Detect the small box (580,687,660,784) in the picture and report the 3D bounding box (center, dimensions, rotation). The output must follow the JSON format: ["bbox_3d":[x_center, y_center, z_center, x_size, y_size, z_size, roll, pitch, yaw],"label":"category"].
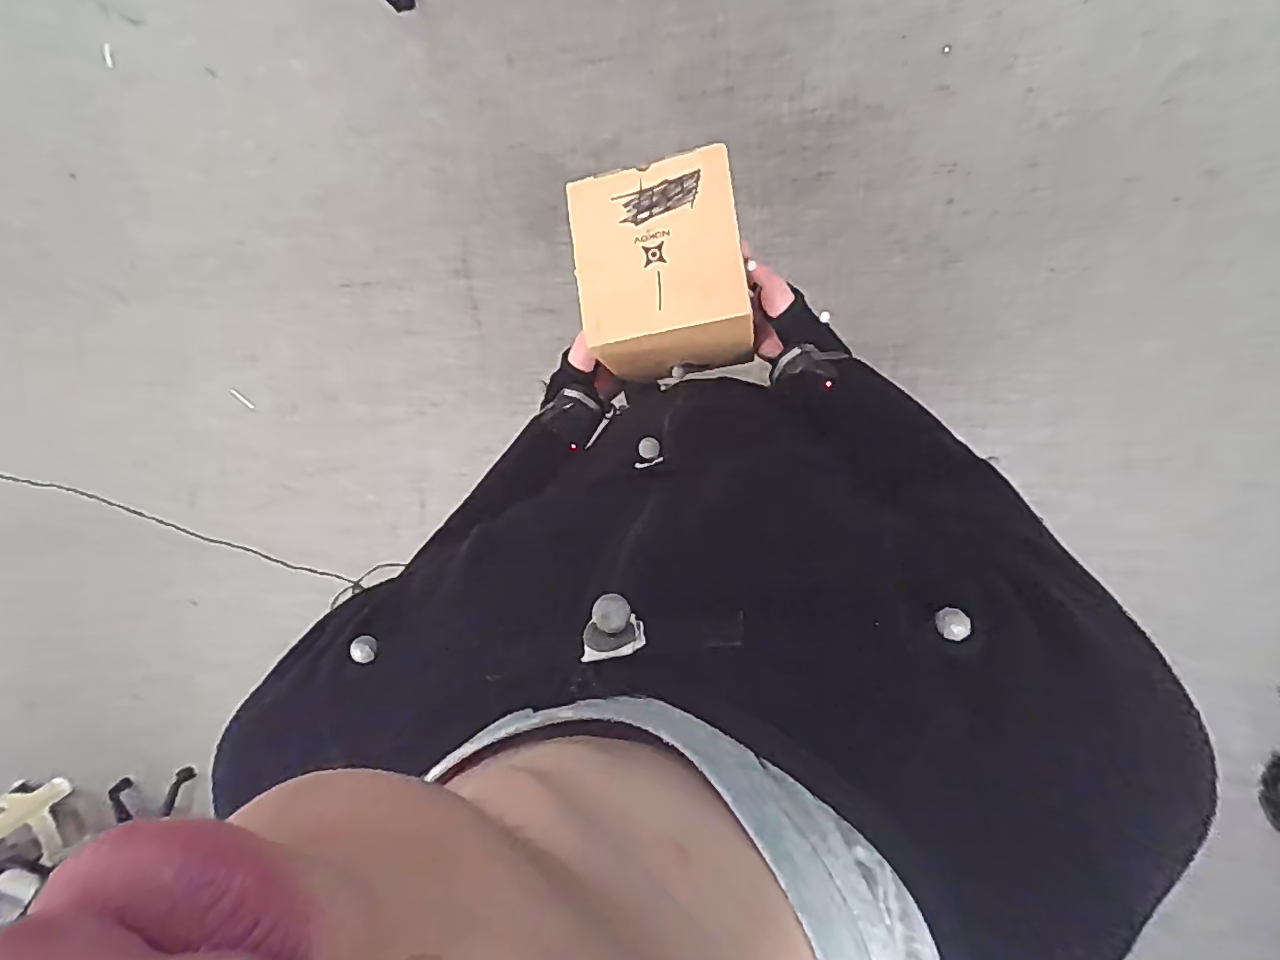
[{"bbox_3d":[-0.053,0.782,1.676,0.168,0.176,0.179,42,107,2],"label":"small box"}]
